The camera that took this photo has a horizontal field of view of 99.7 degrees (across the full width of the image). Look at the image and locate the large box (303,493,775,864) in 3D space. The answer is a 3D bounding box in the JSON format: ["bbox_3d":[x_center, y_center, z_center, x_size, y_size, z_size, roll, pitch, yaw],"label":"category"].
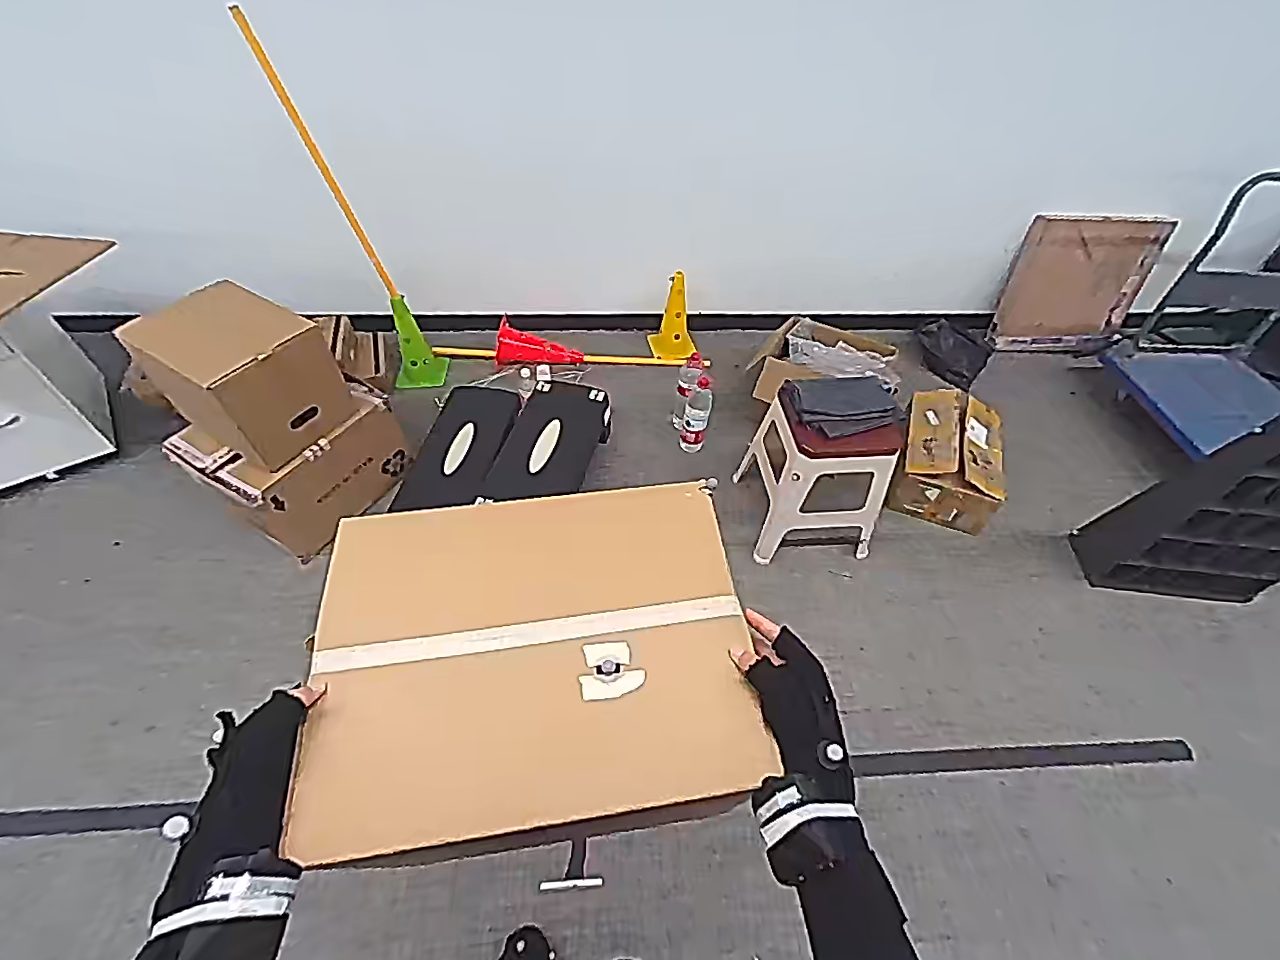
[{"bbox_3d":[-0.104,0.245,0.657,0.408,0.320,0.320,-5,56,-7],"label":"large box"}]
